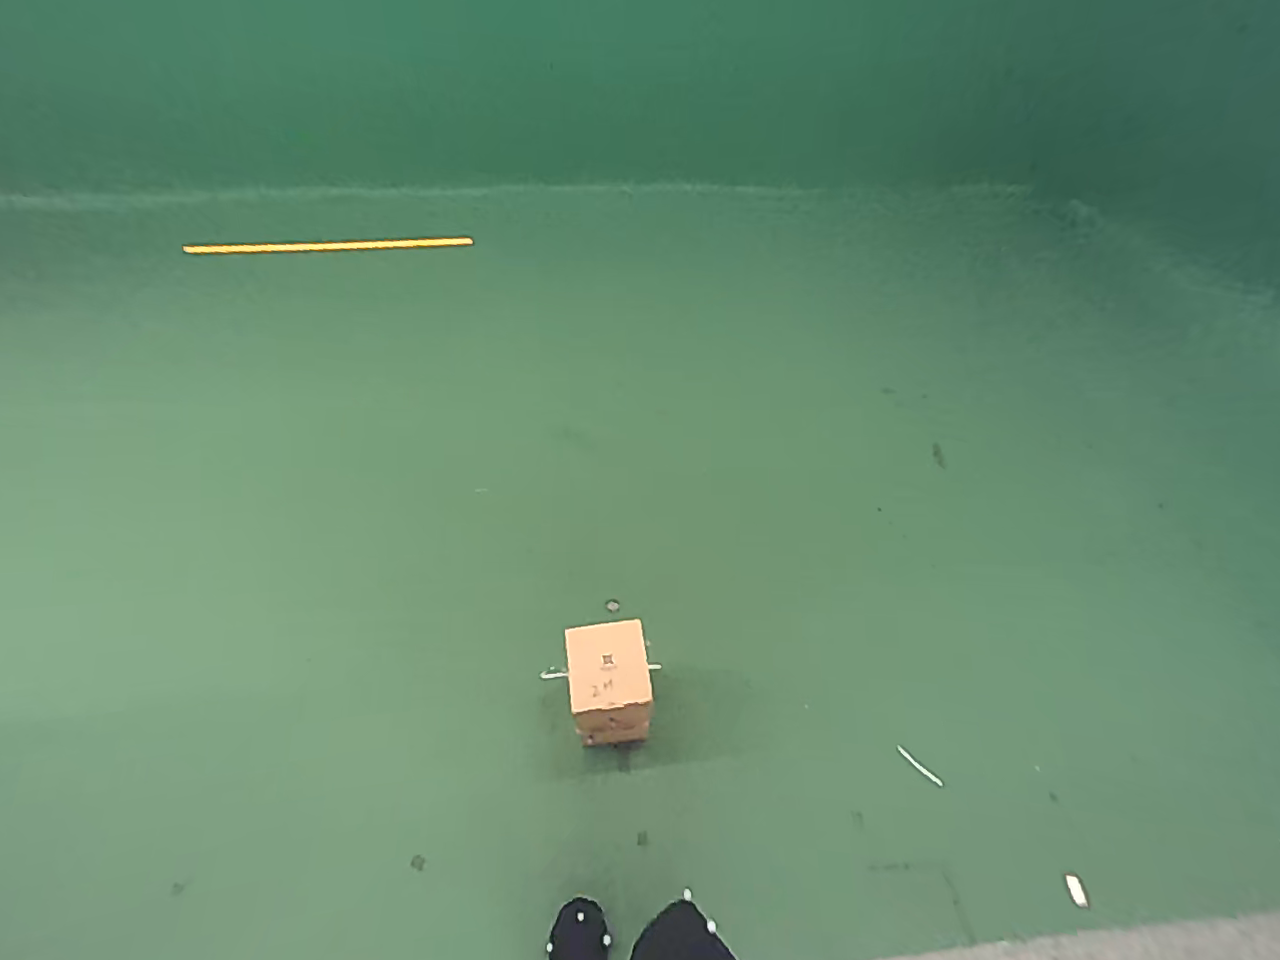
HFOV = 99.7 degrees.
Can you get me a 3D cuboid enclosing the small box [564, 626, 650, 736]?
[{"bbox_3d":[-0.075,0.441,1.185,0.168,0.176,0.179,-6,55,-6],"label":"small box"}]
